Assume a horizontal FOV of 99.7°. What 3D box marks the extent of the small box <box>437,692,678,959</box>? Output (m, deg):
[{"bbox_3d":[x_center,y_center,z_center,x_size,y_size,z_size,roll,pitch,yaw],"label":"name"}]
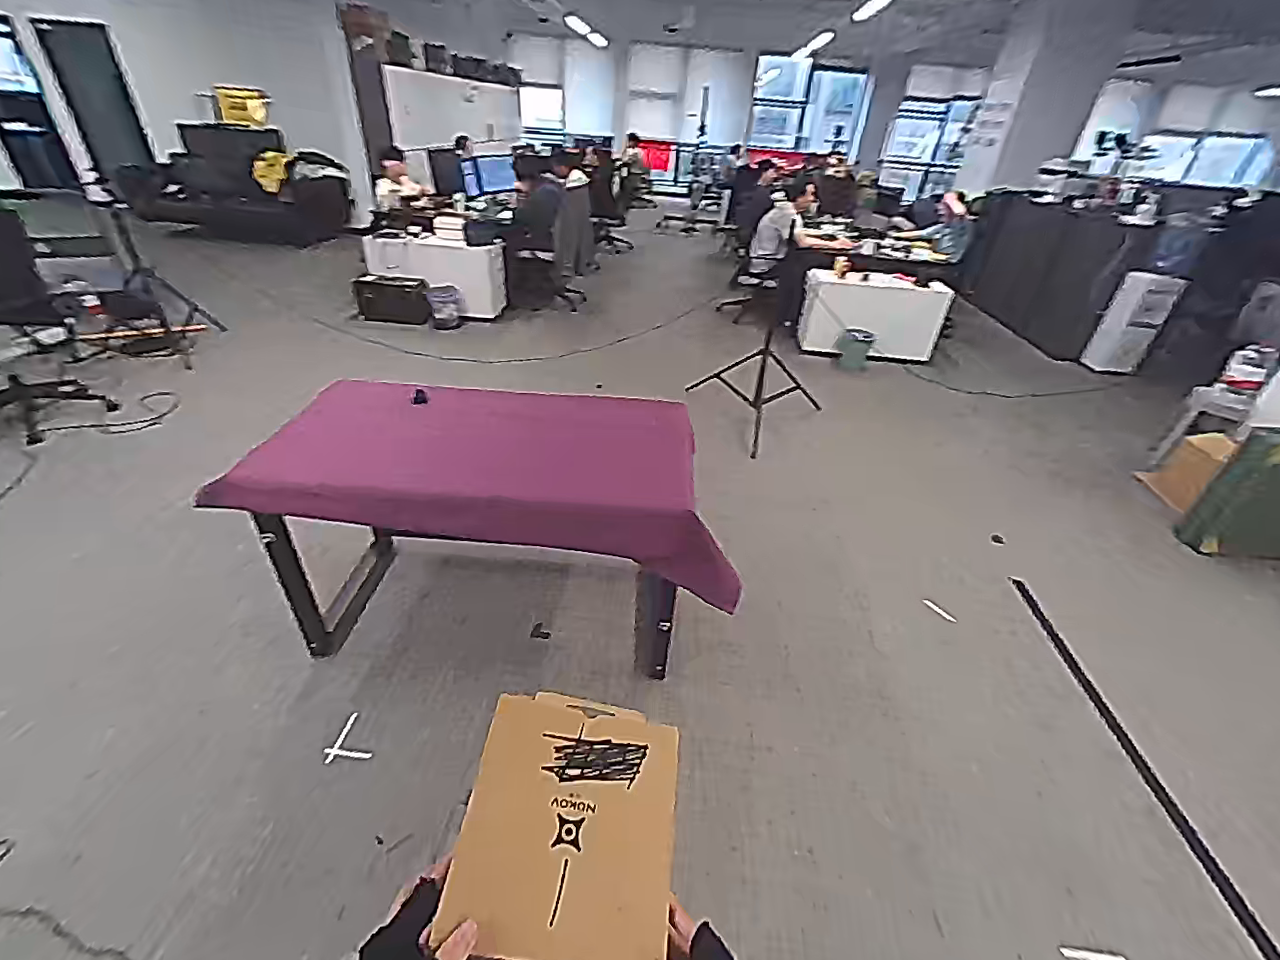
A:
[{"bbox_3d":[-0.069,0.321,0.482,0.168,0.176,0.179,12,44,-4],"label":"small box"}]
